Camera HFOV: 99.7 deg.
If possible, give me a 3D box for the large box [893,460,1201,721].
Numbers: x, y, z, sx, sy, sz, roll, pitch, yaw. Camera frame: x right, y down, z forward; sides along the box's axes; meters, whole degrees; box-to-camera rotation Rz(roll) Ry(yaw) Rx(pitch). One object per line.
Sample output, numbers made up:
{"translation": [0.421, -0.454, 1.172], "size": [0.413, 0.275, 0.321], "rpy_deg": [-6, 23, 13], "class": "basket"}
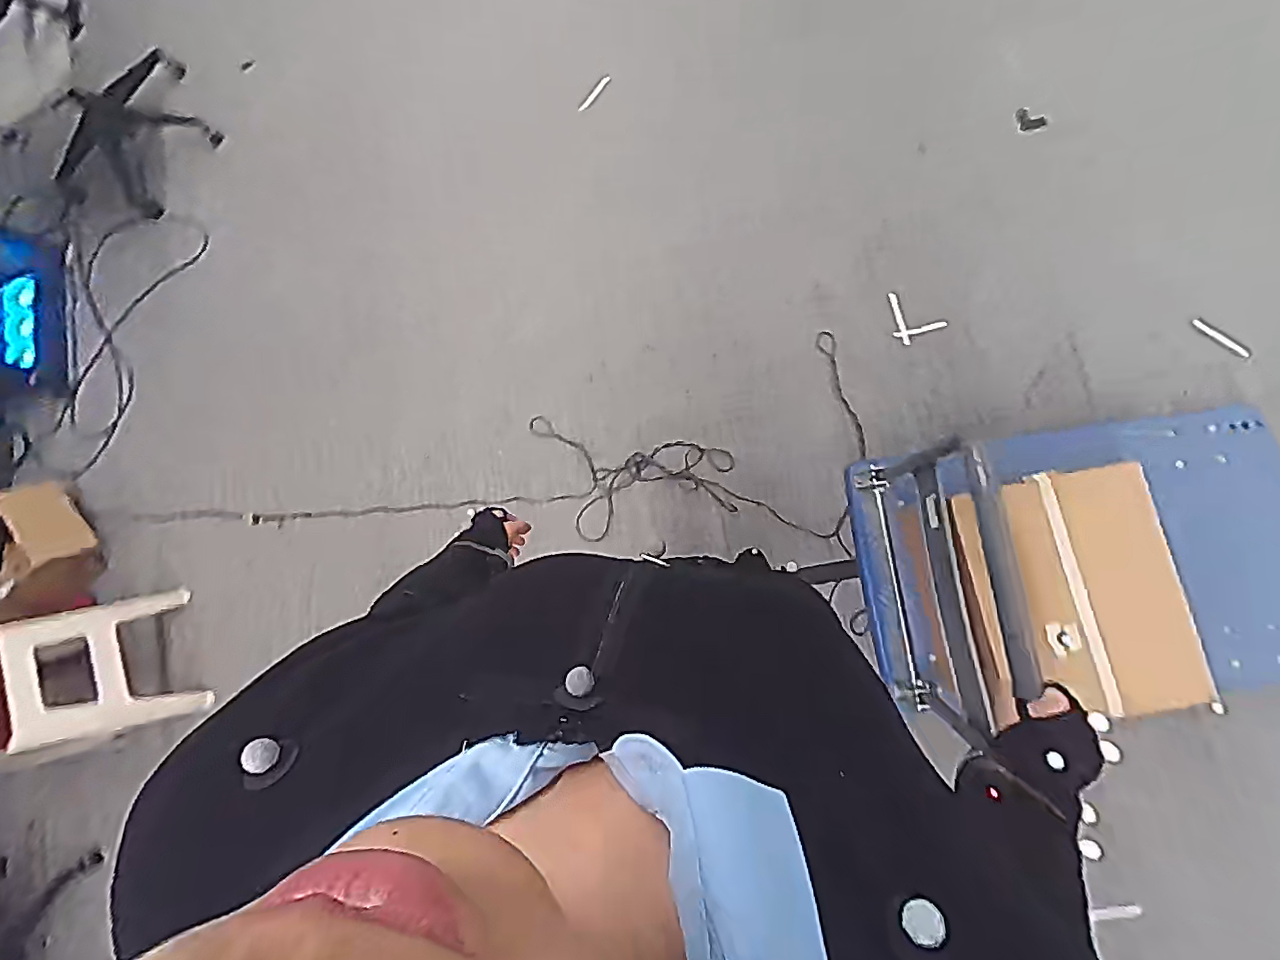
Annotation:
{"translation": [0.756, 0.203, 1.079], "size": [0.320, 0.320, 0.408], "rpy_deg": [-13, 82, 8], "class": "large box"}
